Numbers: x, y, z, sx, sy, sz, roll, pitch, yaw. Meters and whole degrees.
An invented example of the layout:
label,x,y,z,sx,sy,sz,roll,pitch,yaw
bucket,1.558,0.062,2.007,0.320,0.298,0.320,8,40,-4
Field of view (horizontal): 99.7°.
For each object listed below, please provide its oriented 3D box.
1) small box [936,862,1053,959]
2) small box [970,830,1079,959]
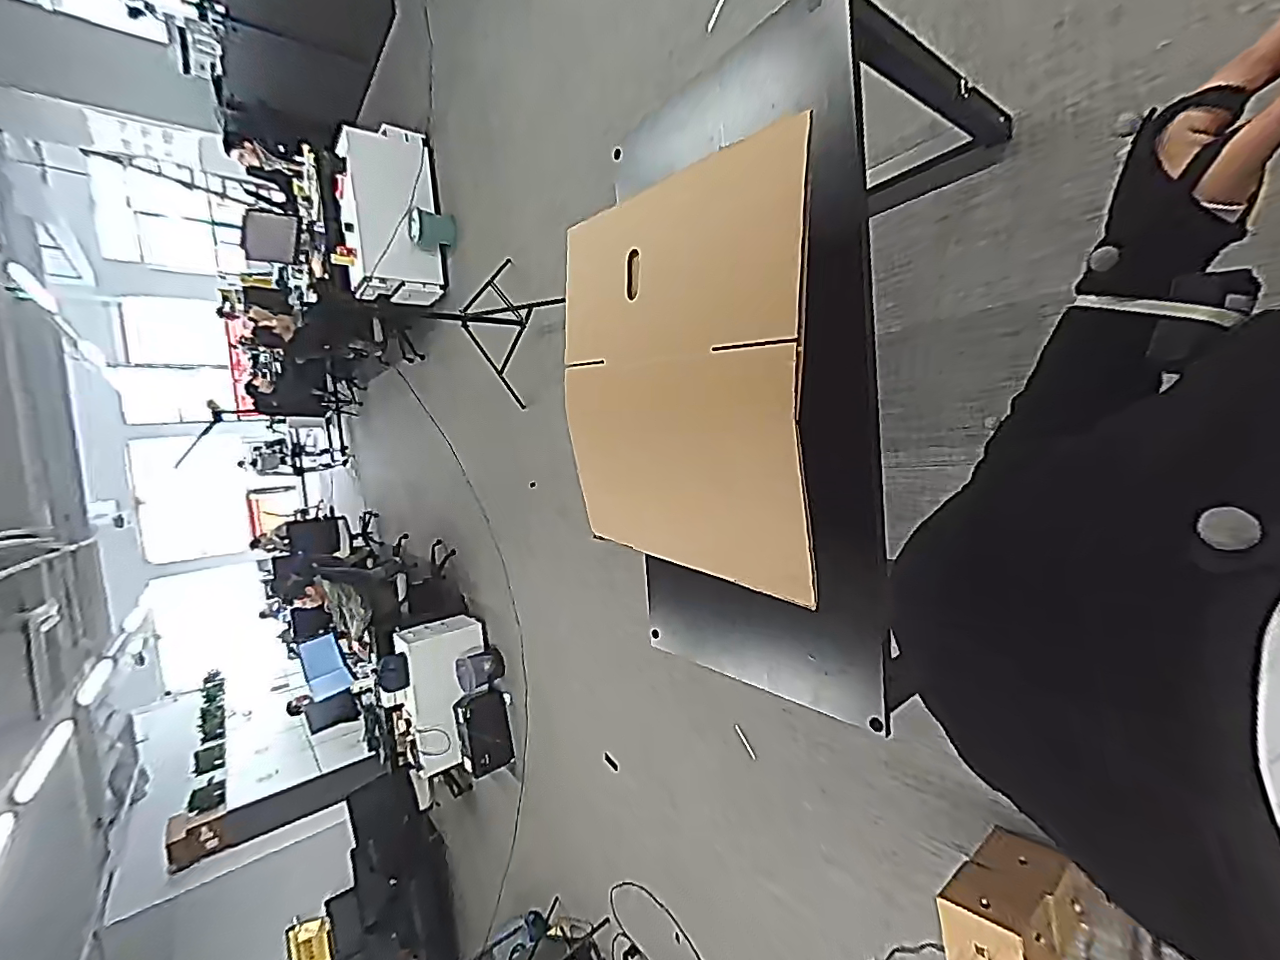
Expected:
label,x,y,z,sx,sy,sz,roll,pitch,yaw
small box,0.820,1.031,1.245,0.179,0.176,0.168,-10,87,54
small box,0.951,1.011,1.339,0.179,0.176,0.168,-5,92,52
